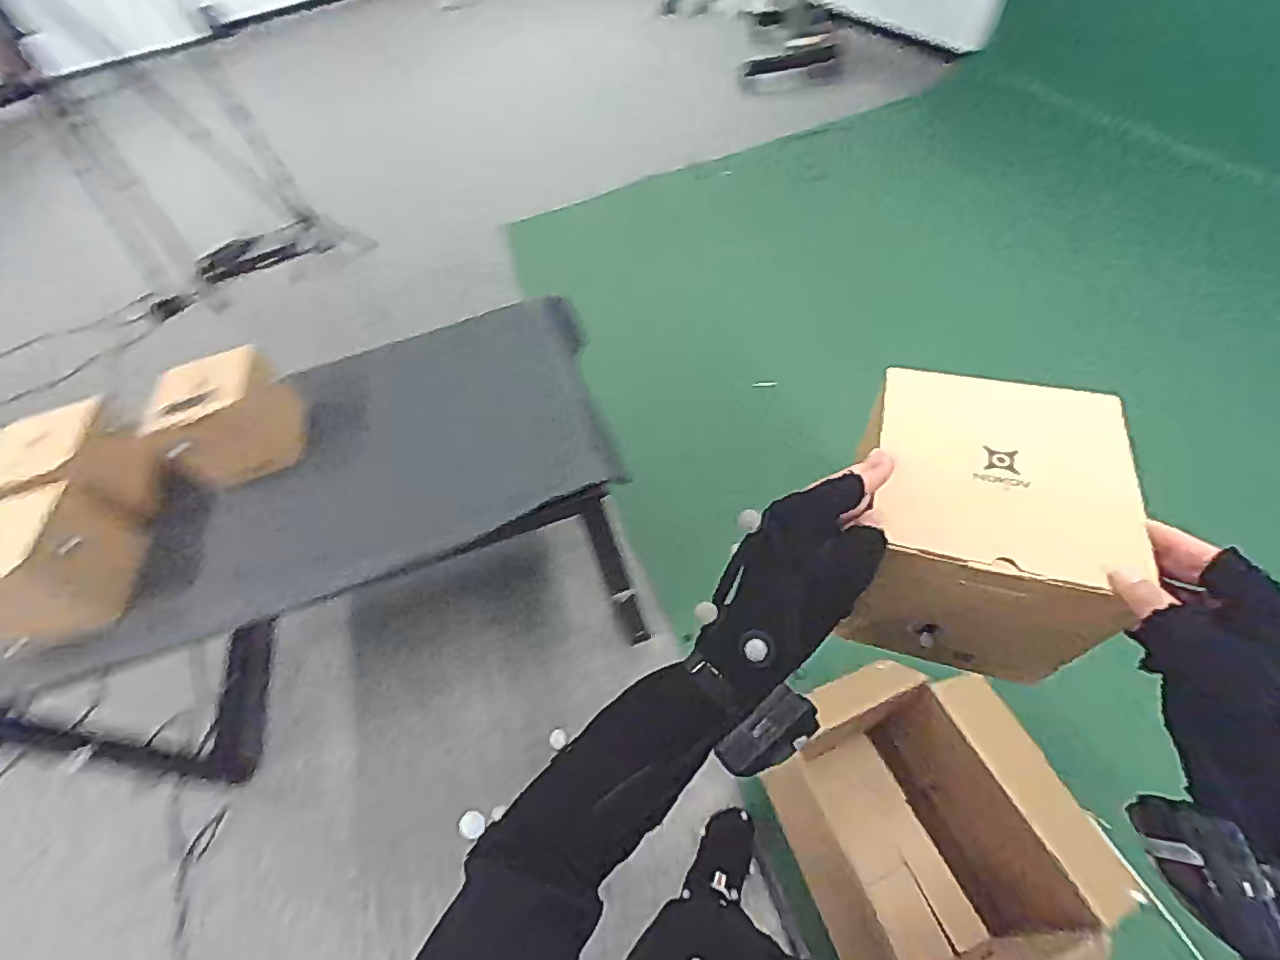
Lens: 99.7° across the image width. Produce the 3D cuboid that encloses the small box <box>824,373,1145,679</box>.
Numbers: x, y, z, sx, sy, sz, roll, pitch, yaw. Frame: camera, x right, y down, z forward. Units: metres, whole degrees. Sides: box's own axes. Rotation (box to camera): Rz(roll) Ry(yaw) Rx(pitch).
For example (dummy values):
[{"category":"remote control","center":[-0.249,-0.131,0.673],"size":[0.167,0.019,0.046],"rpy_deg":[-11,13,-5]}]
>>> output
[{"category":"small box","center":[0.257,0.040,0.452],"size":[0.168,0.176,0.179],"rpy_deg":[10,56,15]}]
